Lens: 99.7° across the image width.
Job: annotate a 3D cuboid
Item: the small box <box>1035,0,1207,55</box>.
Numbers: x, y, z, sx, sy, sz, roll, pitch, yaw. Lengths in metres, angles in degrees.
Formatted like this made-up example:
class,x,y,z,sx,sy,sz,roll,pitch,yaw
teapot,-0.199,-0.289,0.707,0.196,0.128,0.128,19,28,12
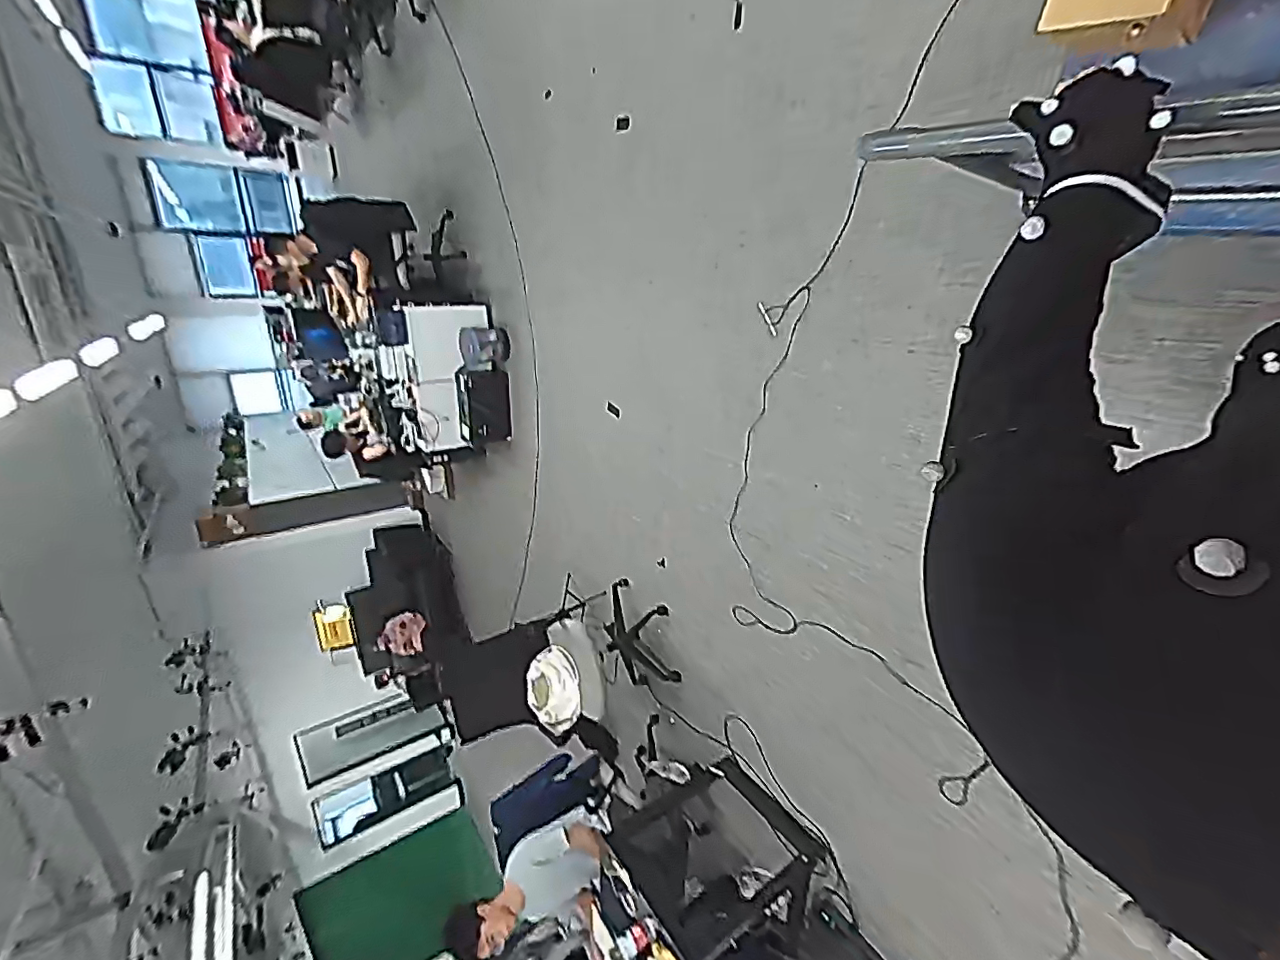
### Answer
class,x,y,z,sx,sy,sz,roll,pitch,yaw
small box,0.785,-0.801,0.857,0.179,0.176,0.168,35,128,43
